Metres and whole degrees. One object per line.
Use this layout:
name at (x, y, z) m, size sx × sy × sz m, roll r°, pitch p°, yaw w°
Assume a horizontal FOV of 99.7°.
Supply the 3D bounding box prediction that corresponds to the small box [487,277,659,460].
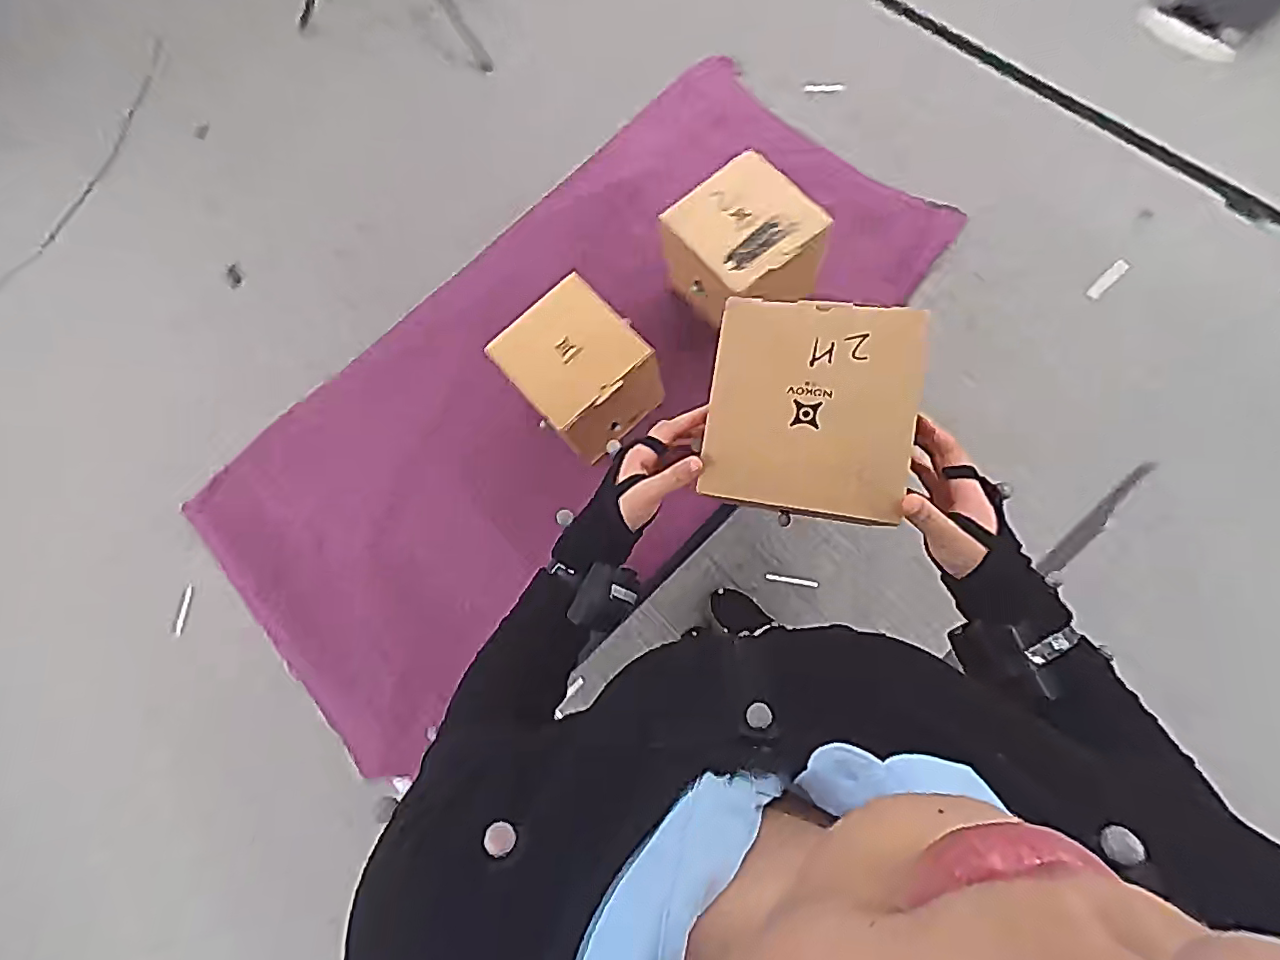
small box at (-0.090, -0.156, 0.813) m, size 0.168 × 0.176 × 0.179 m, roll -43°, pitch 75°, yaw -4°
